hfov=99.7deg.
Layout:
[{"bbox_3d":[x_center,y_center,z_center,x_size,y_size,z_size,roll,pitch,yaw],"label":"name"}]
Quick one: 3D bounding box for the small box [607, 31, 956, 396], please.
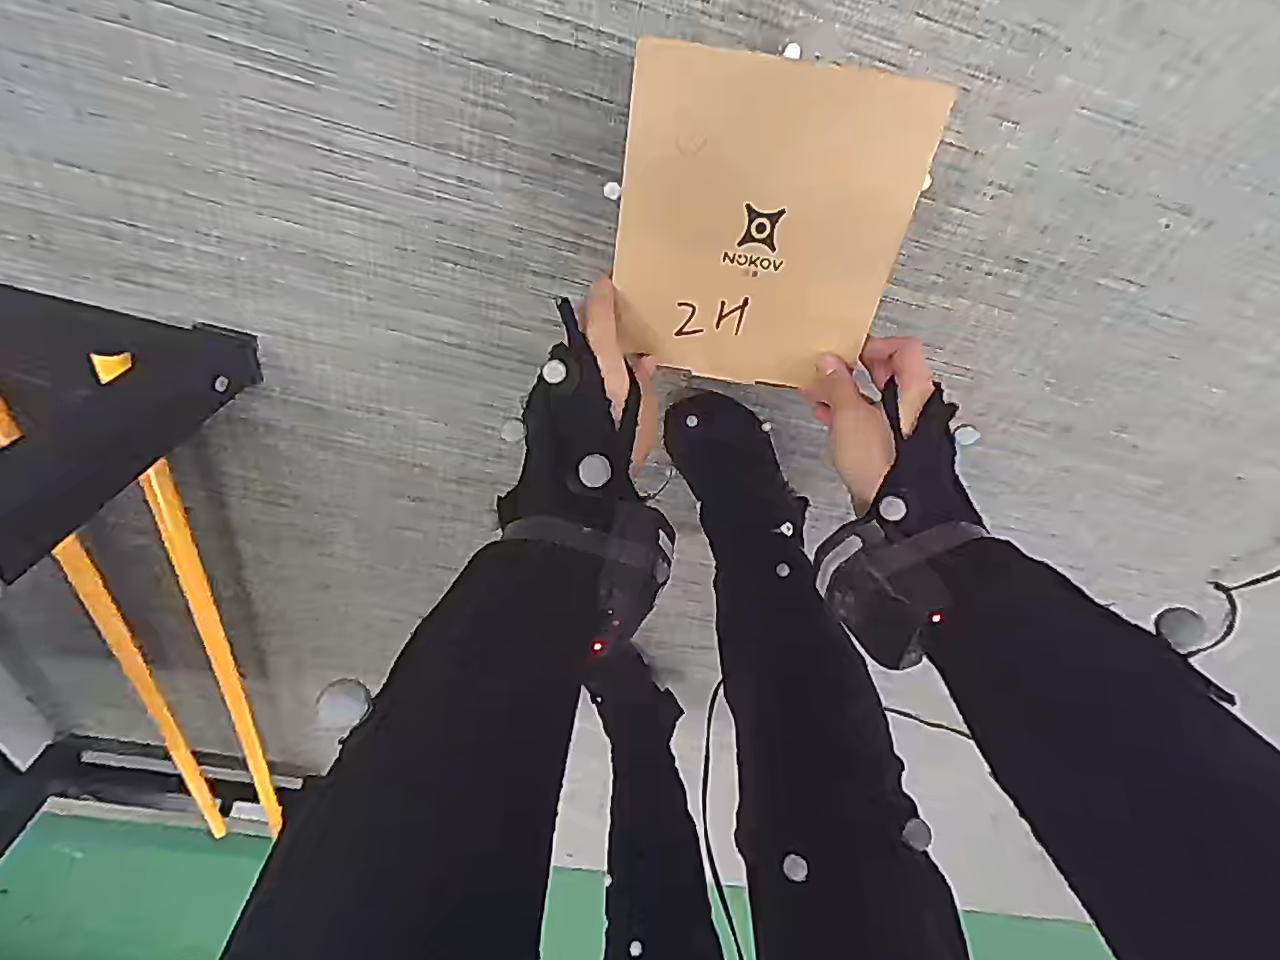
[{"bbox_3d":[0.077,-0.185,0.385,0.168,0.176,0.179,10,124,1],"label":"small box"}]
